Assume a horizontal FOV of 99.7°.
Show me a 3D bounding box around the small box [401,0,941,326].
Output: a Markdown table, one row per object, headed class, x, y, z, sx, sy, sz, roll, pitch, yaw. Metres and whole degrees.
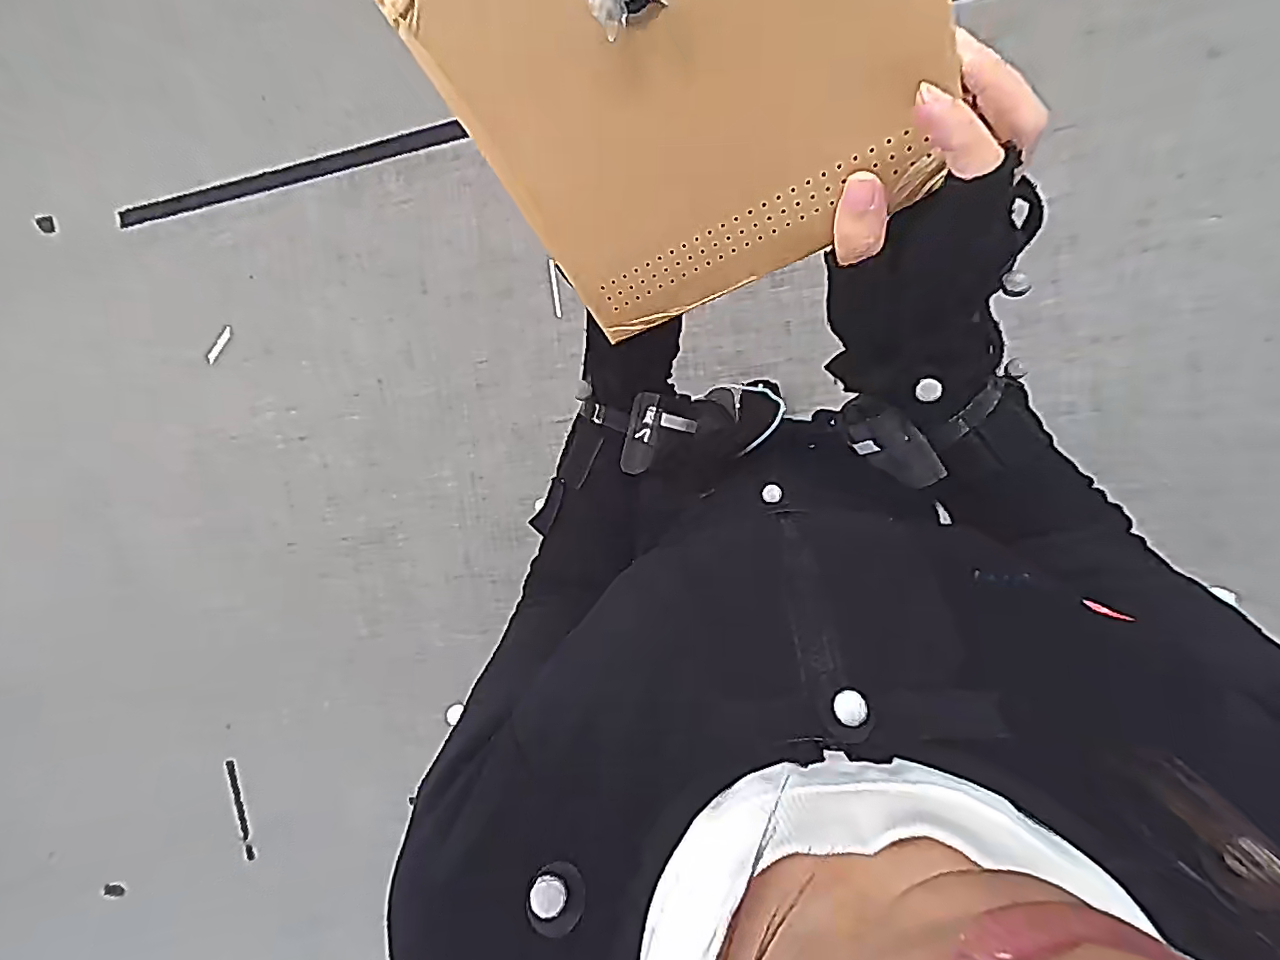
| class | x | y | z | sx | sy | sz | roll | pitch | yaw |
| --- | --- | --- | --- | --- | --- | --- | --- | --- | --- |
| small box | 0.027 | -0.211 | 0.276 | 0.179 | 0.168 | 0.176 | -18 | 134 | 25 |
